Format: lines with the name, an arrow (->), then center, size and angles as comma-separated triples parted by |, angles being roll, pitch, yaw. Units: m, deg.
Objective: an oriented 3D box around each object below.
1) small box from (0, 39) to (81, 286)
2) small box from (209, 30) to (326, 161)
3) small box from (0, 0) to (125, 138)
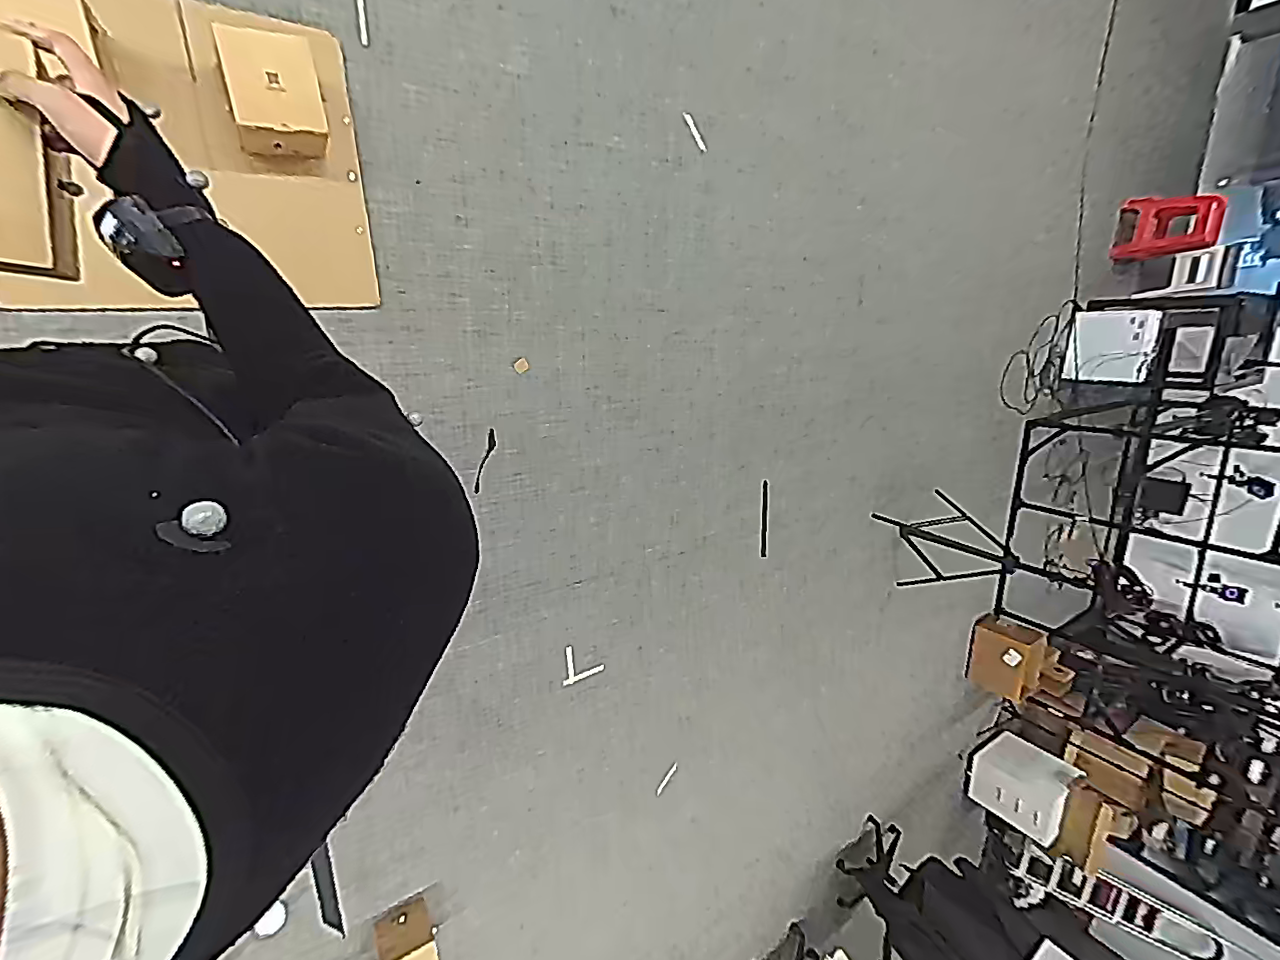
small box -> -0.600, -0.270, 0.453 | 0.168, 0.176, 0.179 | -3, 105, -40
small box -> -0.791, -0.808, 1.156 | 0.168, 0.176, 0.179 | -16, 110, -30
small box -> -1.076, -0.749, 0.973 | 0.168, 0.176, 0.179 | -12, 108, -30
